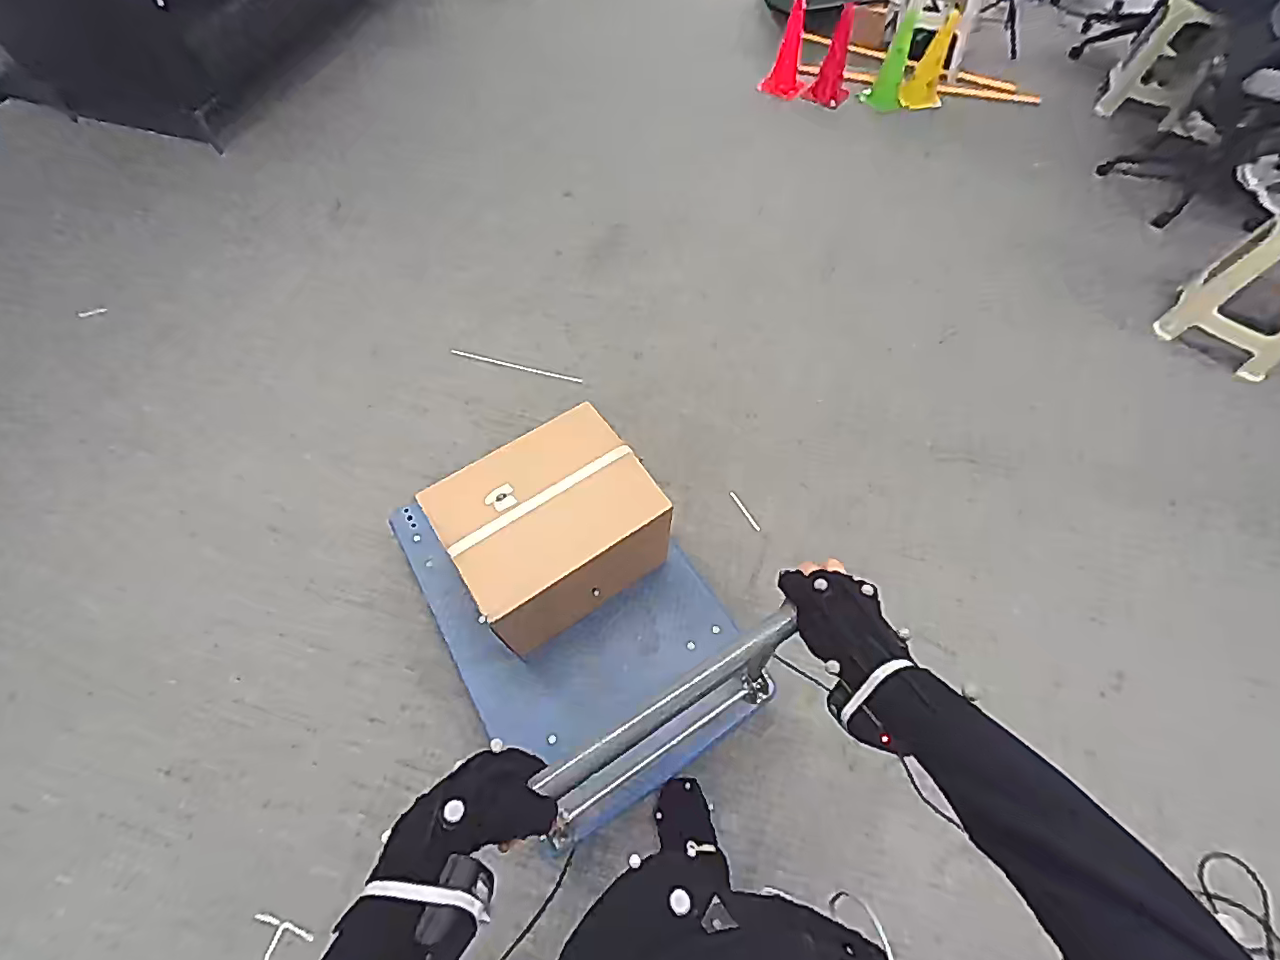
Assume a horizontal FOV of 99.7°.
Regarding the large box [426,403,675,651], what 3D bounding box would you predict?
[{"bbox_3d":[-0.176,0.111,1.193,0.408,0.320,0.320,-32,66,-16],"label":"large box"}]
